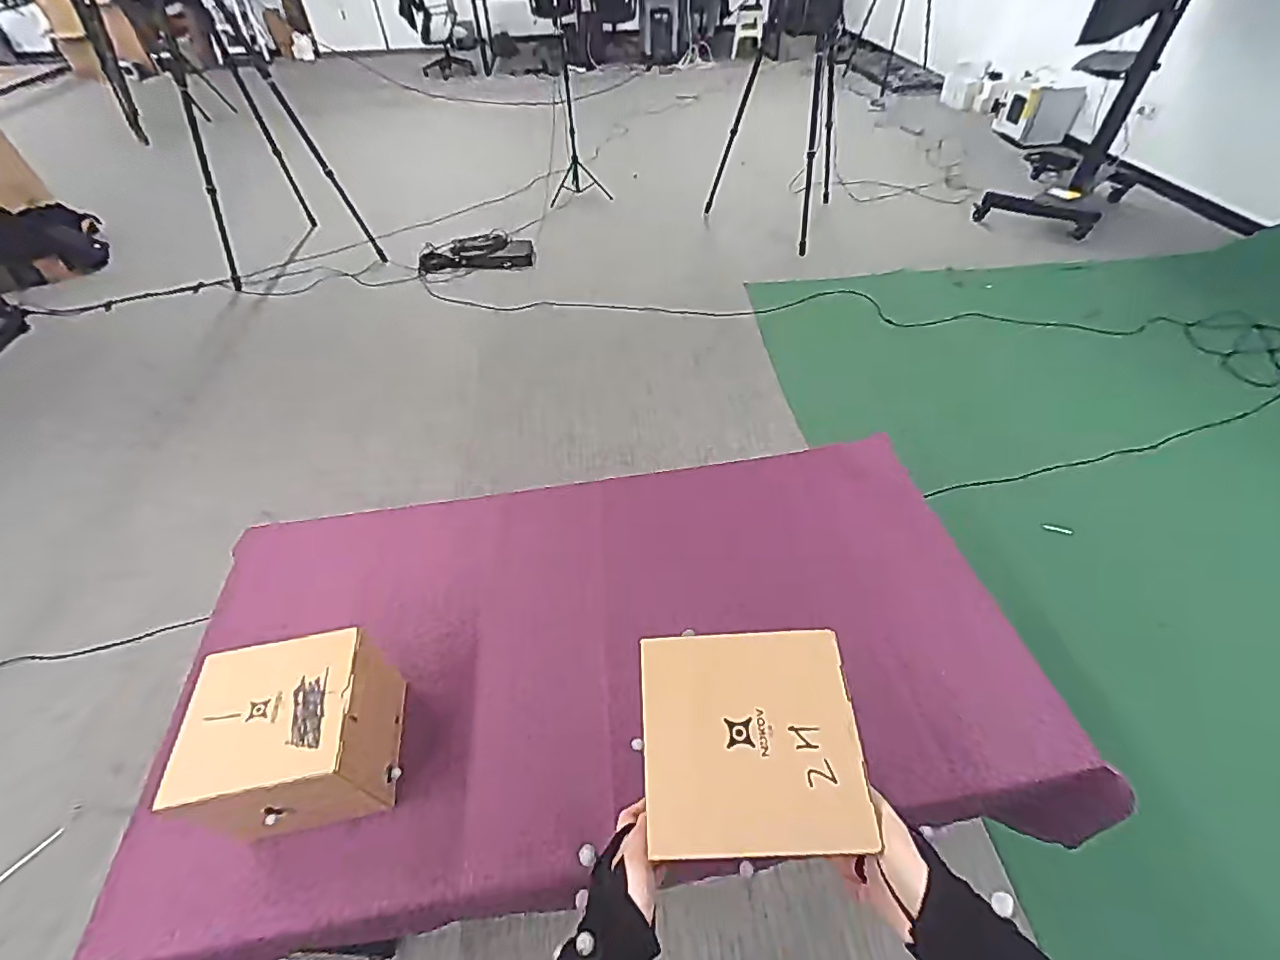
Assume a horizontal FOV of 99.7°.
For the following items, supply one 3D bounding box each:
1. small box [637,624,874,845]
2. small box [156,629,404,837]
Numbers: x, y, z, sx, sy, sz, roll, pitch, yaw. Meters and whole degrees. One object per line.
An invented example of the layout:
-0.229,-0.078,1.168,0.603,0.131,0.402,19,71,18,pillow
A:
0.092,0.245,0.511,0.179,0.176,0.168,-3,58,3,small box
-0.403,0.305,0.650,0.179,0.176,0.168,-10,48,-6,small box
